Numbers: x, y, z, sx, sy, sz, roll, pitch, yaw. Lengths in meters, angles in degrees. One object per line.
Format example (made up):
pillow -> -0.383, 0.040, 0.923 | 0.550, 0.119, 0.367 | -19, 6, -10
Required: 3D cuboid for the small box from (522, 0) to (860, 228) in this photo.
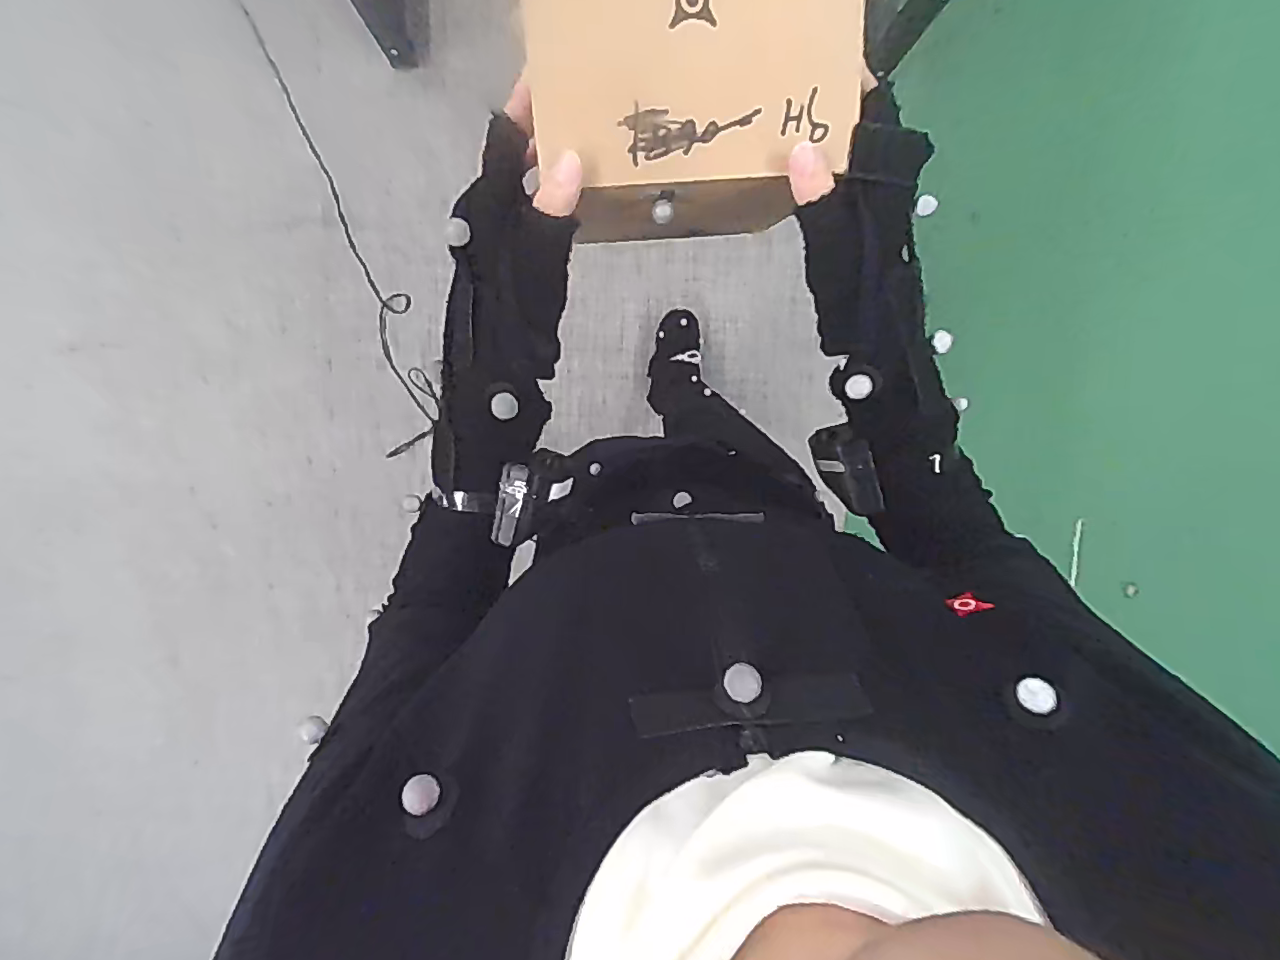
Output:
small box -> 0.019, -0.269, 0.330 | 0.168, 0.176, 0.179 | -4, 105, -2
